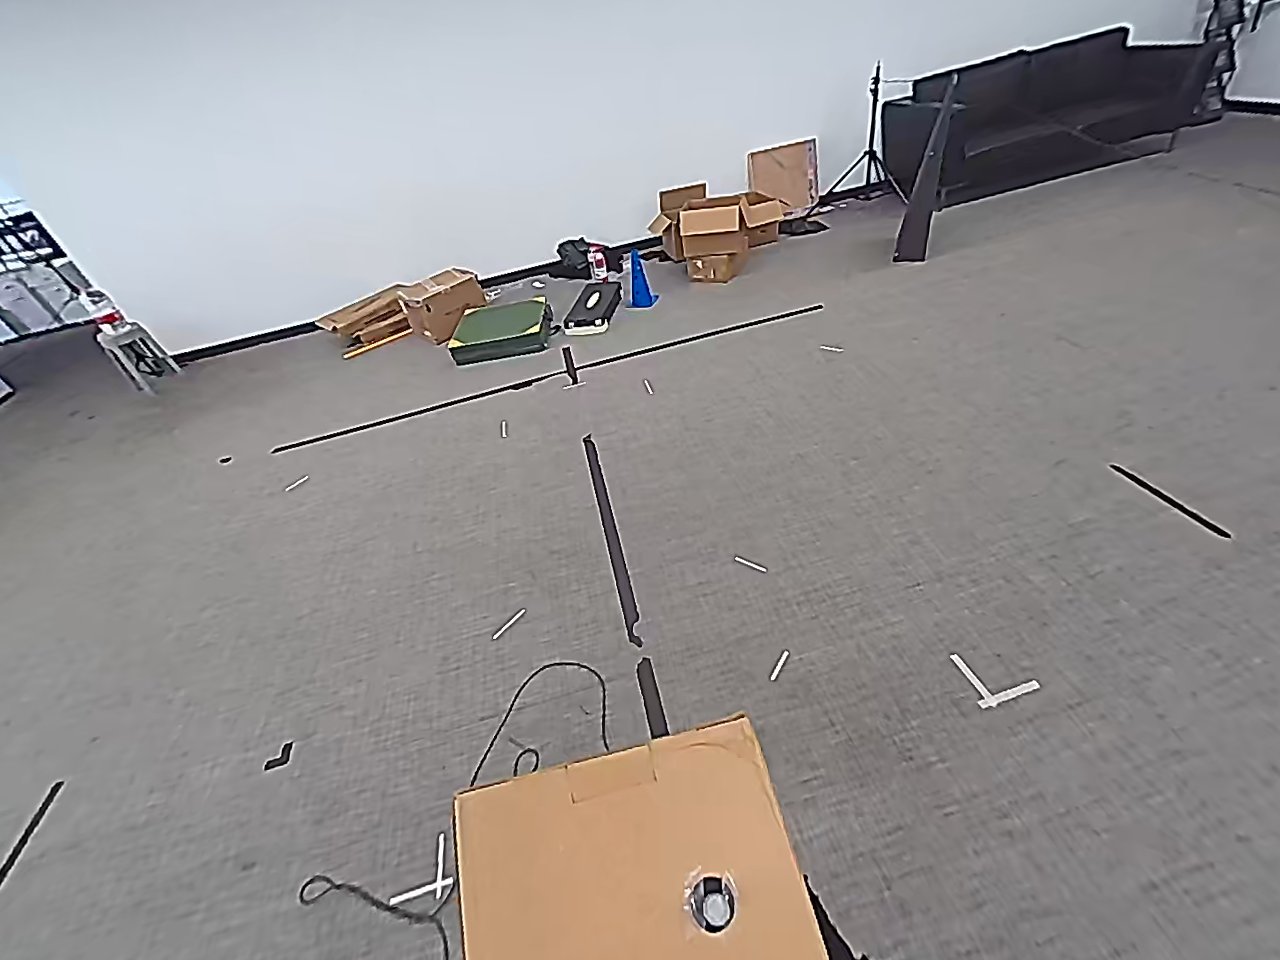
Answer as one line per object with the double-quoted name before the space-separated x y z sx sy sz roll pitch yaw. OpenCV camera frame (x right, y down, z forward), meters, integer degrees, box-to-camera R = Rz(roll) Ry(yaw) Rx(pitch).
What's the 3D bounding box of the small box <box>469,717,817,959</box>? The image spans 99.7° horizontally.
"small box" 0.002 0.265 0.346 0.168 0.179 0.176 -11 64 -8
